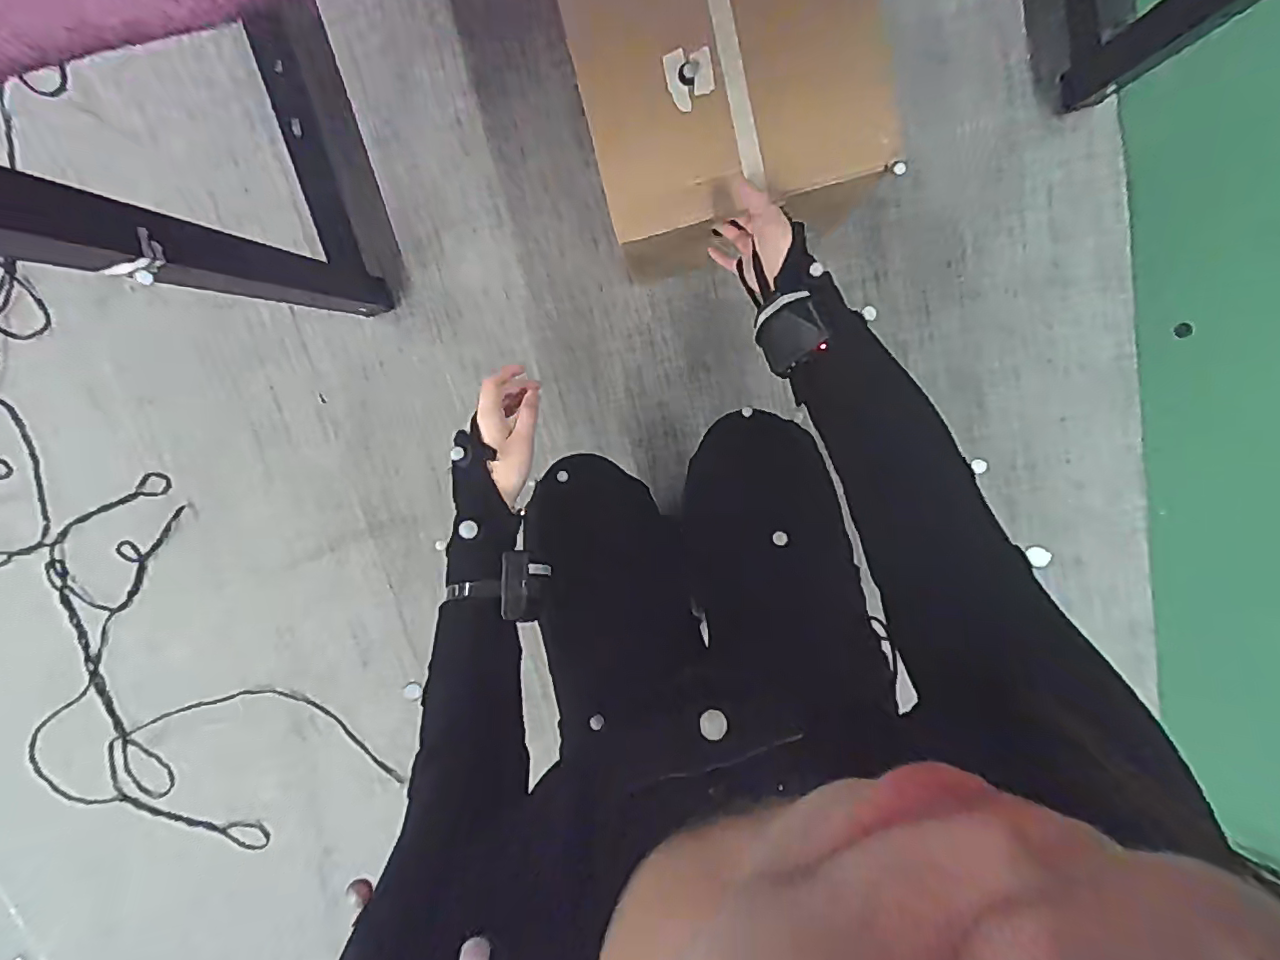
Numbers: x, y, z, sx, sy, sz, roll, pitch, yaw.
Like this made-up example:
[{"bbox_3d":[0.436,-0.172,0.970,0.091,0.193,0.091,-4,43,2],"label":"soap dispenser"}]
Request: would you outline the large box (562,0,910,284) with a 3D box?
[{"bbox_3d":[0.092,-0.511,0.689,0.320,0.320,0.408,-13,101,7],"label":"large box"}]
